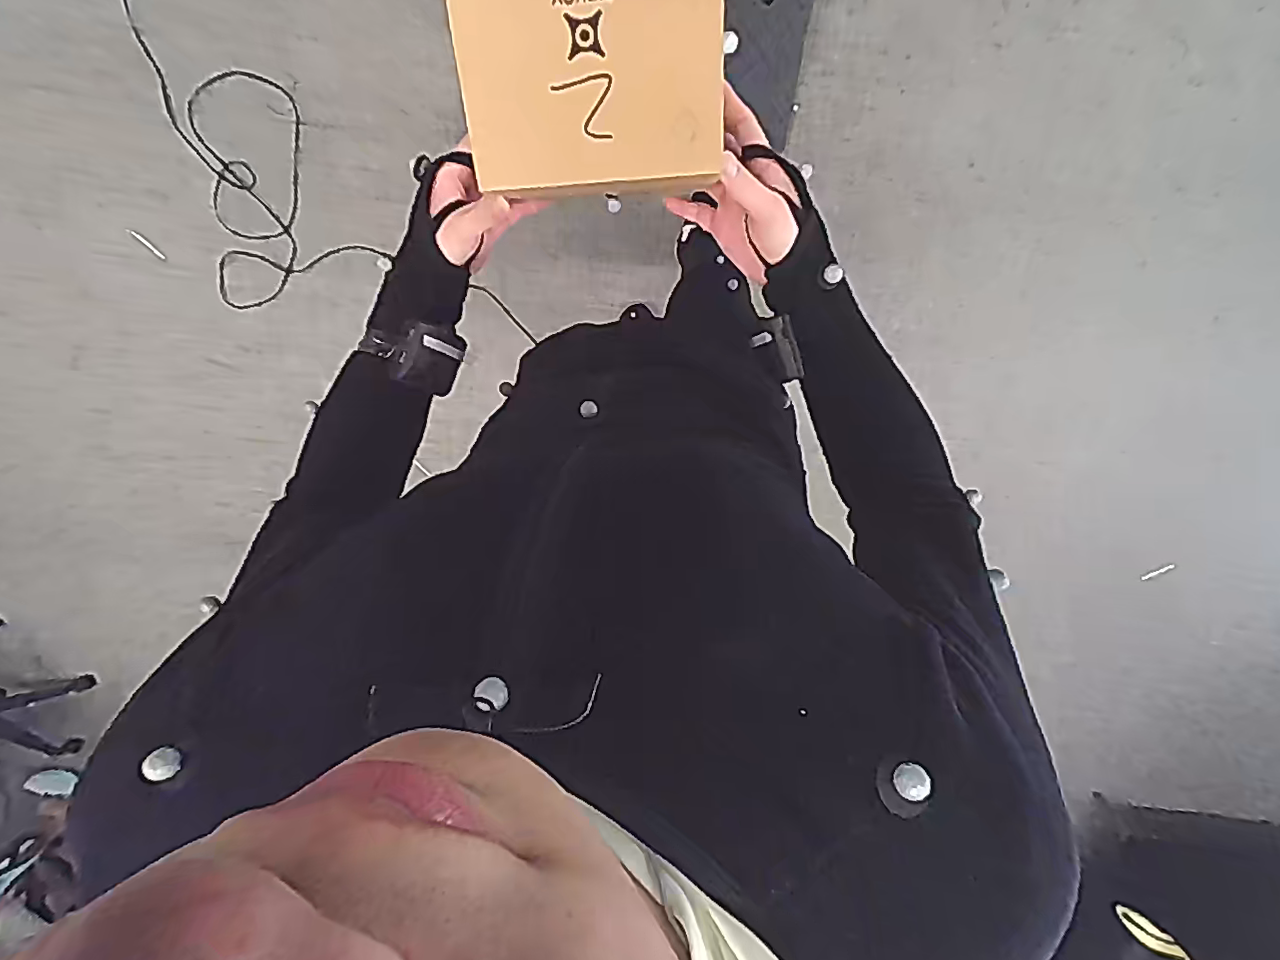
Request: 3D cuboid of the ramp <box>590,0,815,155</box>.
[{"bbox_3d":[0.160,-1.245,1.075,0.509,0.206,0.991,4,112,0],"label":"ramp"}]
